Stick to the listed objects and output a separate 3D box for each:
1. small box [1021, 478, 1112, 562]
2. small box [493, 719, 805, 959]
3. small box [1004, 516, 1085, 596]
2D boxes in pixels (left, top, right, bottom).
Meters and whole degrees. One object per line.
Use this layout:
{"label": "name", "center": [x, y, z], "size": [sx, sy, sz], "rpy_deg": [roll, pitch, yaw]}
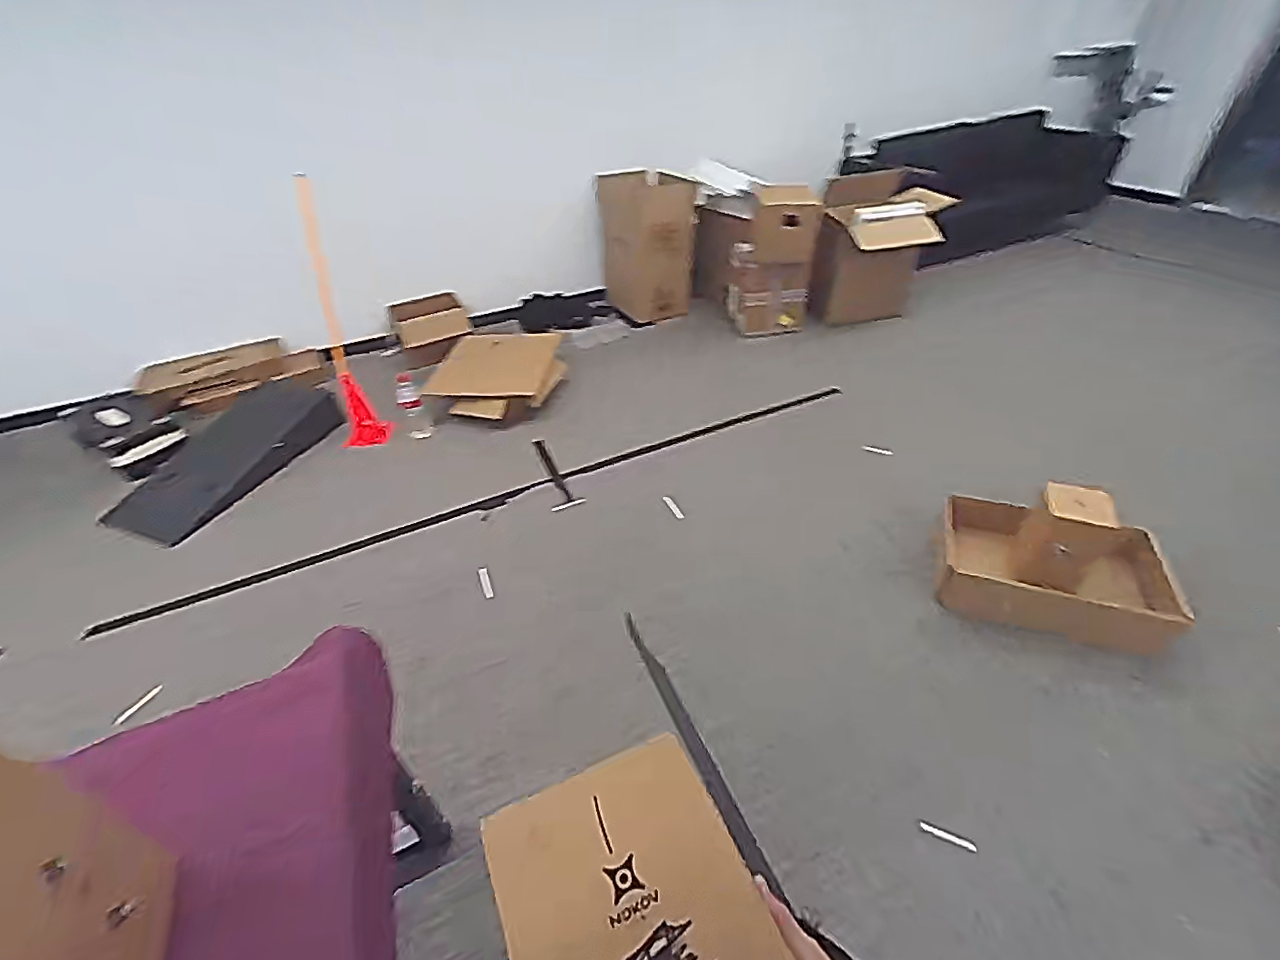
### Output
{"label": "small box", "center": [1.319, 0.123, 1.687], "size": [0.168, 0.176, 0.179], "rpy_deg": [12, 42, 20]}
{"label": "small box", "center": [-0.003, 0.333, 0.425], "size": [0.168, 0.176, 0.179], "rpy_deg": [-16, 43, -20]}
{"label": "small box", "center": [1.327, 0.250, 1.788], "size": [0.168, 0.176, 0.179], "rpy_deg": [13, 42, 21]}
